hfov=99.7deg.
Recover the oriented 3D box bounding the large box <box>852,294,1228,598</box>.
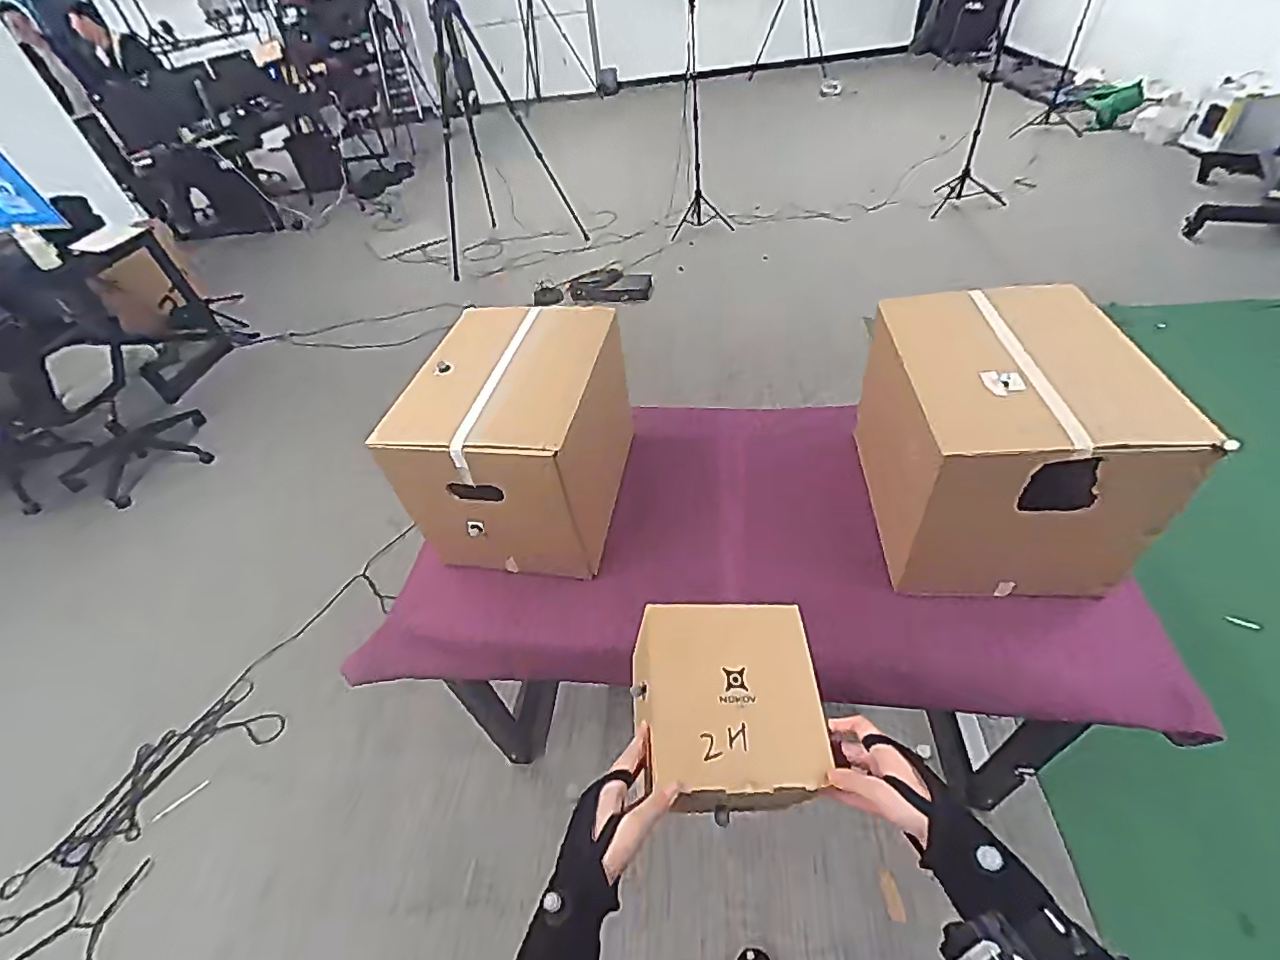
[{"bbox_3d":[0.562,-0.059,0.885,0.320,0.320,0.408,-2,45,10],"label":"large box"}]

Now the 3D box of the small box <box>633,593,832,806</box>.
[{"bbox_3d":[0.080,0.240,0.585,0.168,0.176,0.179,2,52,-5],"label":"small box"}]
